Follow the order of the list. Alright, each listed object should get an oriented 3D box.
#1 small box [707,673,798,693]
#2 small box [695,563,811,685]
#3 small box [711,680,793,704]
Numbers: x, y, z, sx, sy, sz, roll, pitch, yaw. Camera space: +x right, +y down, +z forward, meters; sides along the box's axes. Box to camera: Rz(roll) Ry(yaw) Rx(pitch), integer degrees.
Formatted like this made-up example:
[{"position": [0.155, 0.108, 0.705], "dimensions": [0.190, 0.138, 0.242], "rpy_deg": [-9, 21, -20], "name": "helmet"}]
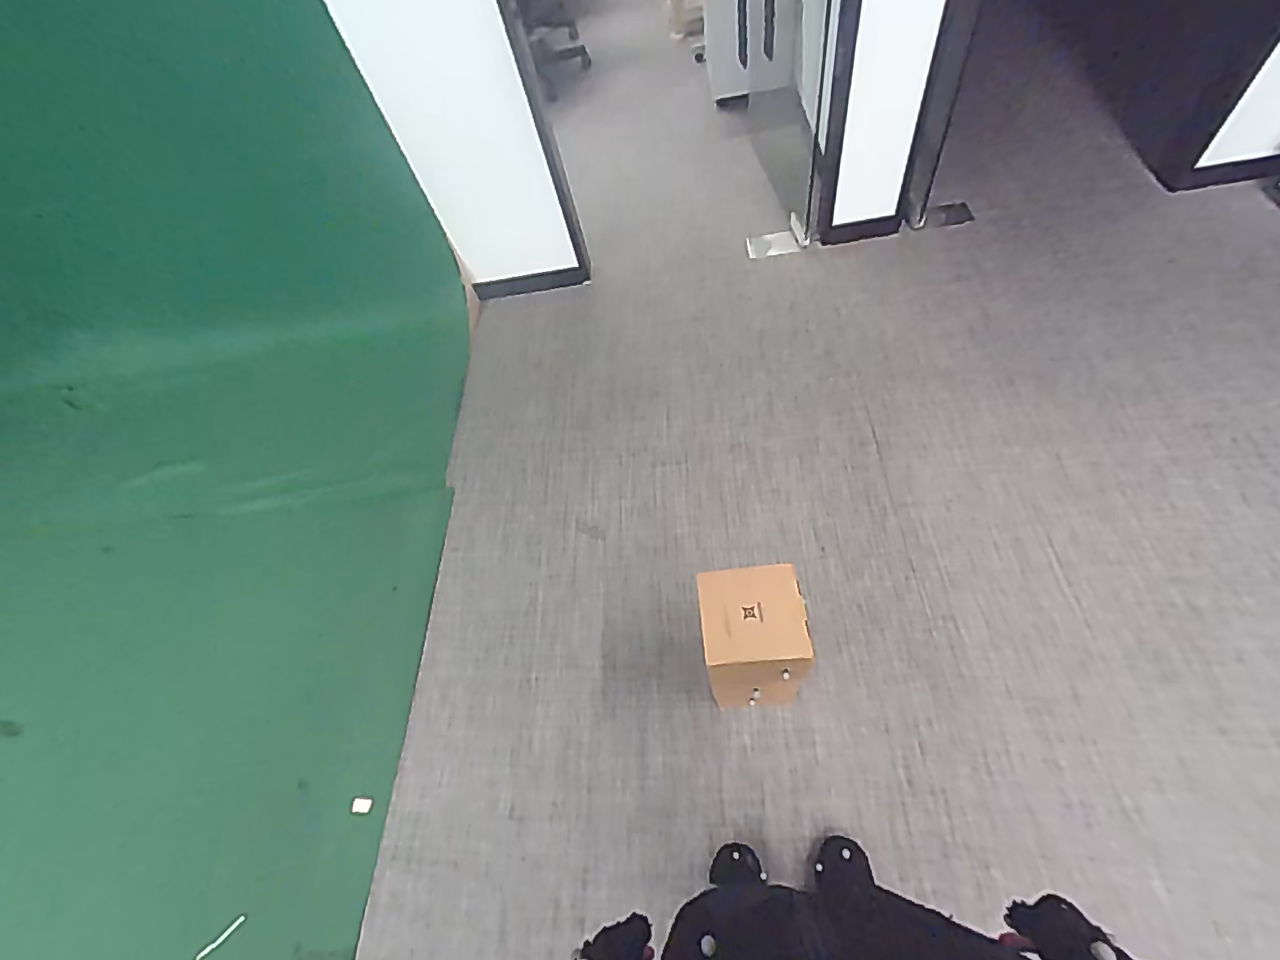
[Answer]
[{"position": [0.223, 0.341, 1.130], "dimensions": [0.179, 0.176, 0.168], "rpy_deg": [-8, 57, 6], "name": "small box"}, {"position": [0.201, 0.267, 0.986], "dimensions": [0.179, 0.176, 0.168], "rpy_deg": [-8, 56, 8], "name": "small box"}, {"position": [0.253, 0.423, 1.268], "dimensions": [0.179, 0.176, 0.168], "rpy_deg": [-6, 57, 9], "name": "small box"}]
